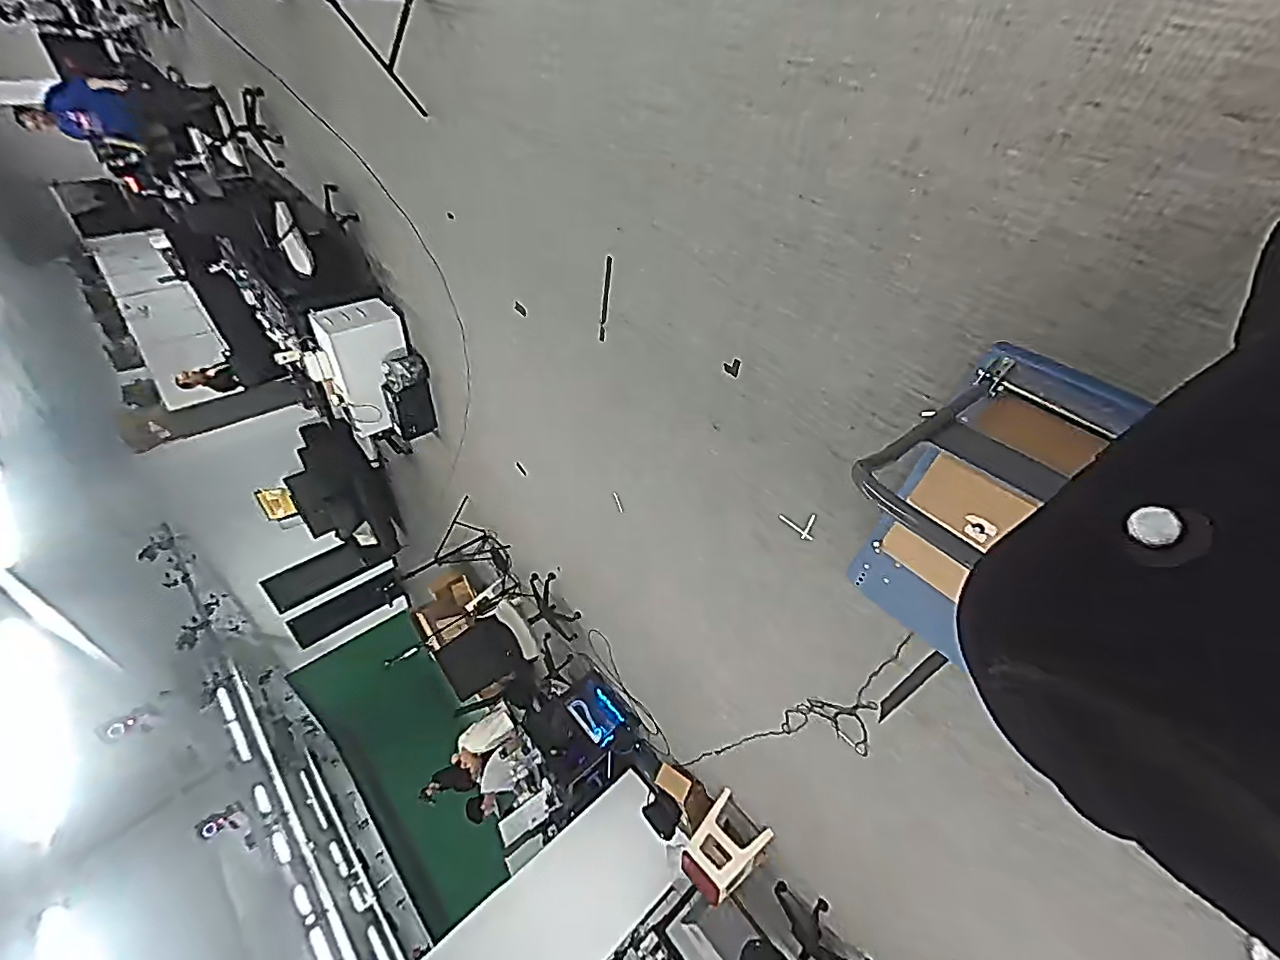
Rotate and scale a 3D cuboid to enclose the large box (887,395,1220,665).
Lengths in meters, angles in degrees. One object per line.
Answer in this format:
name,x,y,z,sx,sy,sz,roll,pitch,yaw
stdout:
large box,0.825,0.085,1.124,0.408,0.320,0.320,41,142,30
